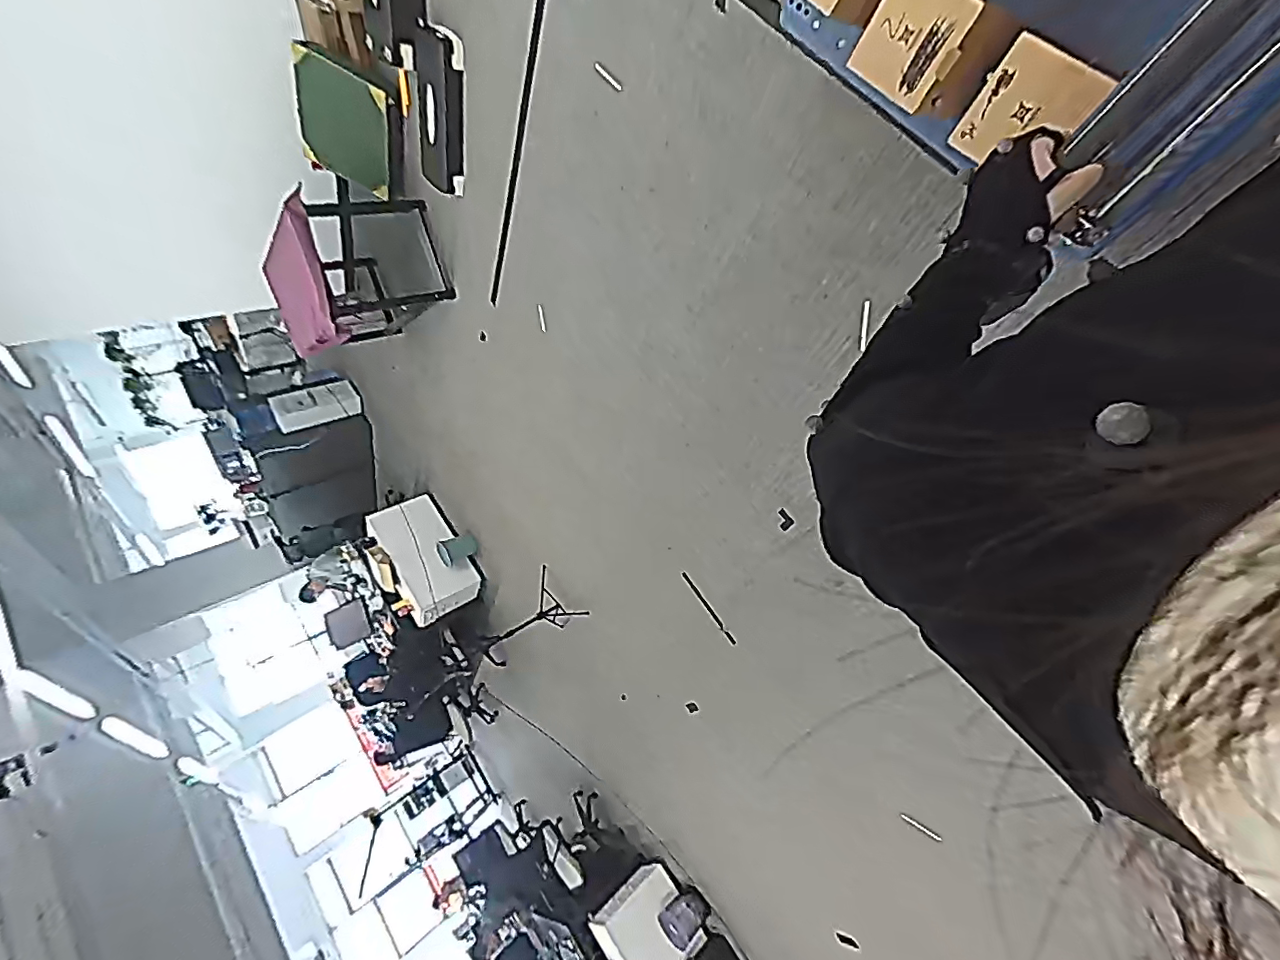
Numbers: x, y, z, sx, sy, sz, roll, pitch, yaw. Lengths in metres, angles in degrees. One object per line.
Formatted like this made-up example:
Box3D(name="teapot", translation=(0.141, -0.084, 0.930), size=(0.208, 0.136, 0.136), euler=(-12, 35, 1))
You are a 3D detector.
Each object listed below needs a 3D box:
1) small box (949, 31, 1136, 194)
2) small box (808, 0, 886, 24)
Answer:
Box3D(name="small box", translation=(0.677, -0.612, 0.910), size=(0.179, 0.176, 0.168), euler=(49, 140, 19))
Box3D(name="small box", translation=(0.391, -1.006, 1.022), size=(0.179, 0.176, 0.168), euler=(52, 142, 14))
